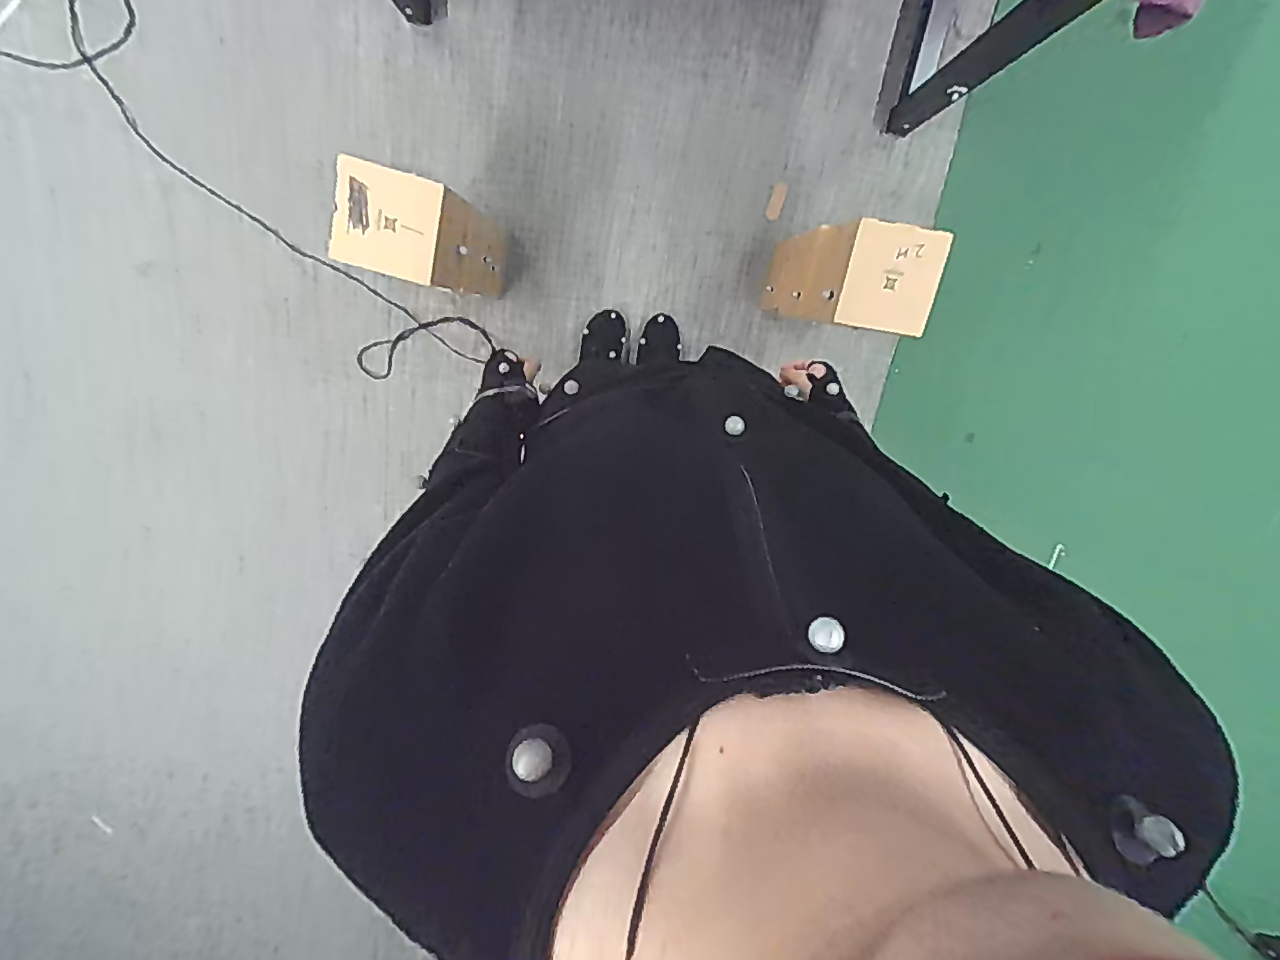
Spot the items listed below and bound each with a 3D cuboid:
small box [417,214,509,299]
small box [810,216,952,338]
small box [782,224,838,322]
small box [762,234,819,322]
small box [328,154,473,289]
[{"bbox_3d":[-0.422,-0.538,1.289,0.168,0.176,0.179,13,107,-4],"label":"small box"},{"bbox_3d":[0.433,-0.371,1.006,0.168,0.176,0.179,9,108,-4],"label":"small box"},{"bbox_3d":[0.419,-0.431,1.160,0.168,0.176,0.179,8,108,-3],"label":"small box"},{"bbox_3d":[0.413,-0.481,1.313,0.179,0.176,0.168,11,107,-4],"label":"small box"},{"bbox_3d":[-0.421,-0.450,0.971,0.179,0.176,0.168,15,106,-5],"label":"small box"}]
